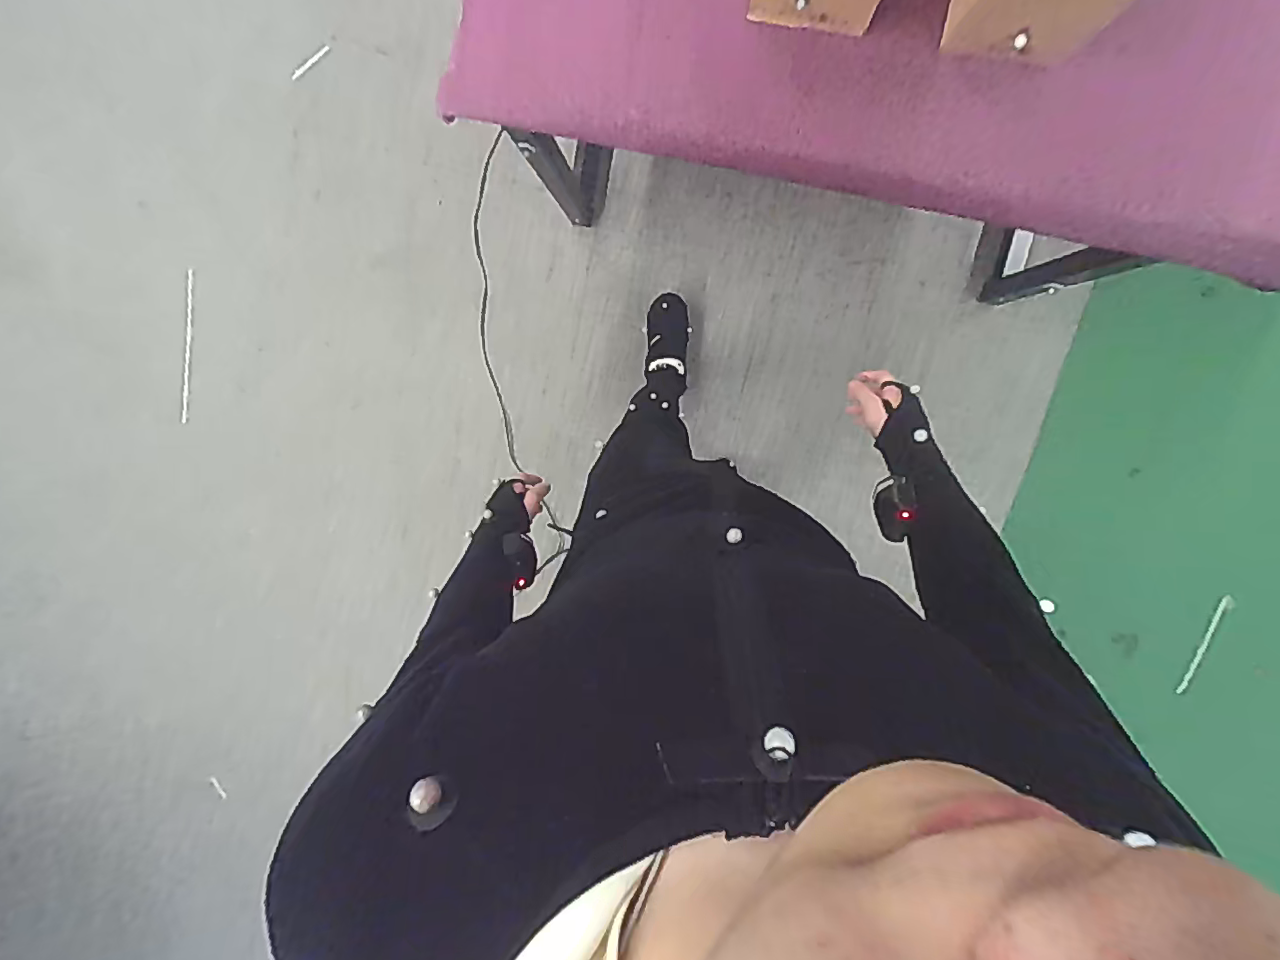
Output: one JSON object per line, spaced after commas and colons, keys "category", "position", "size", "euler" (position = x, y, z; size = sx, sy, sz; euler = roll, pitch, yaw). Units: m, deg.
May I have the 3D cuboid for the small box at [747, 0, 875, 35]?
{"category": "small box", "position": [0.232, -0.699, 0.656], "size": [0.168, 0.176, 0.179], "euler": [10, 101, 3]}
